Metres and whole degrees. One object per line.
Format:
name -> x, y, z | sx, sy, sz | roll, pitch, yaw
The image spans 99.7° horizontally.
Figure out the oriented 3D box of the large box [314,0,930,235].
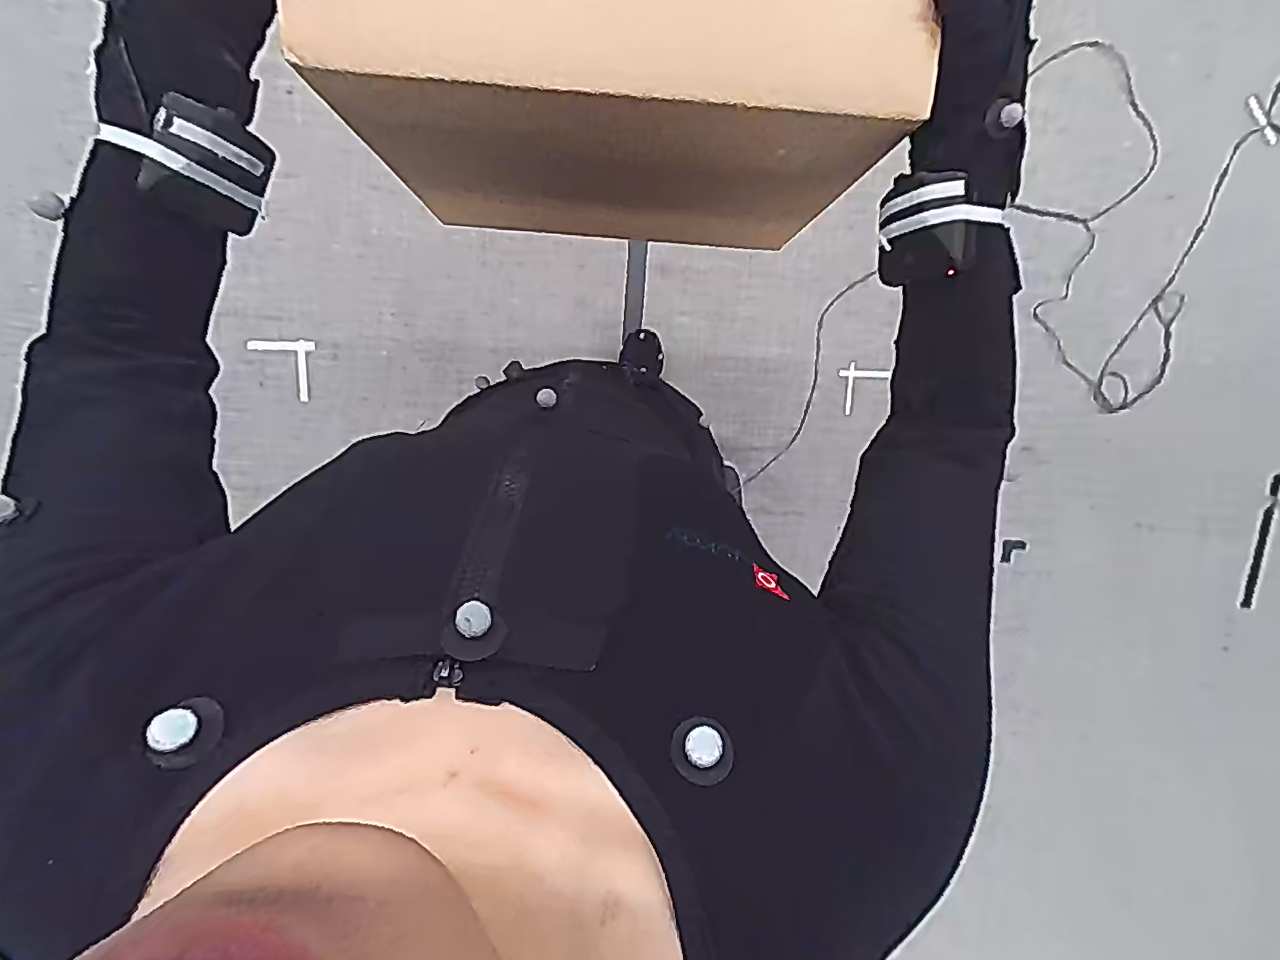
large box -> -0.012, -0.431, 0.478 | 0.408, 0.320, 0.320 | 2, 99, -4
